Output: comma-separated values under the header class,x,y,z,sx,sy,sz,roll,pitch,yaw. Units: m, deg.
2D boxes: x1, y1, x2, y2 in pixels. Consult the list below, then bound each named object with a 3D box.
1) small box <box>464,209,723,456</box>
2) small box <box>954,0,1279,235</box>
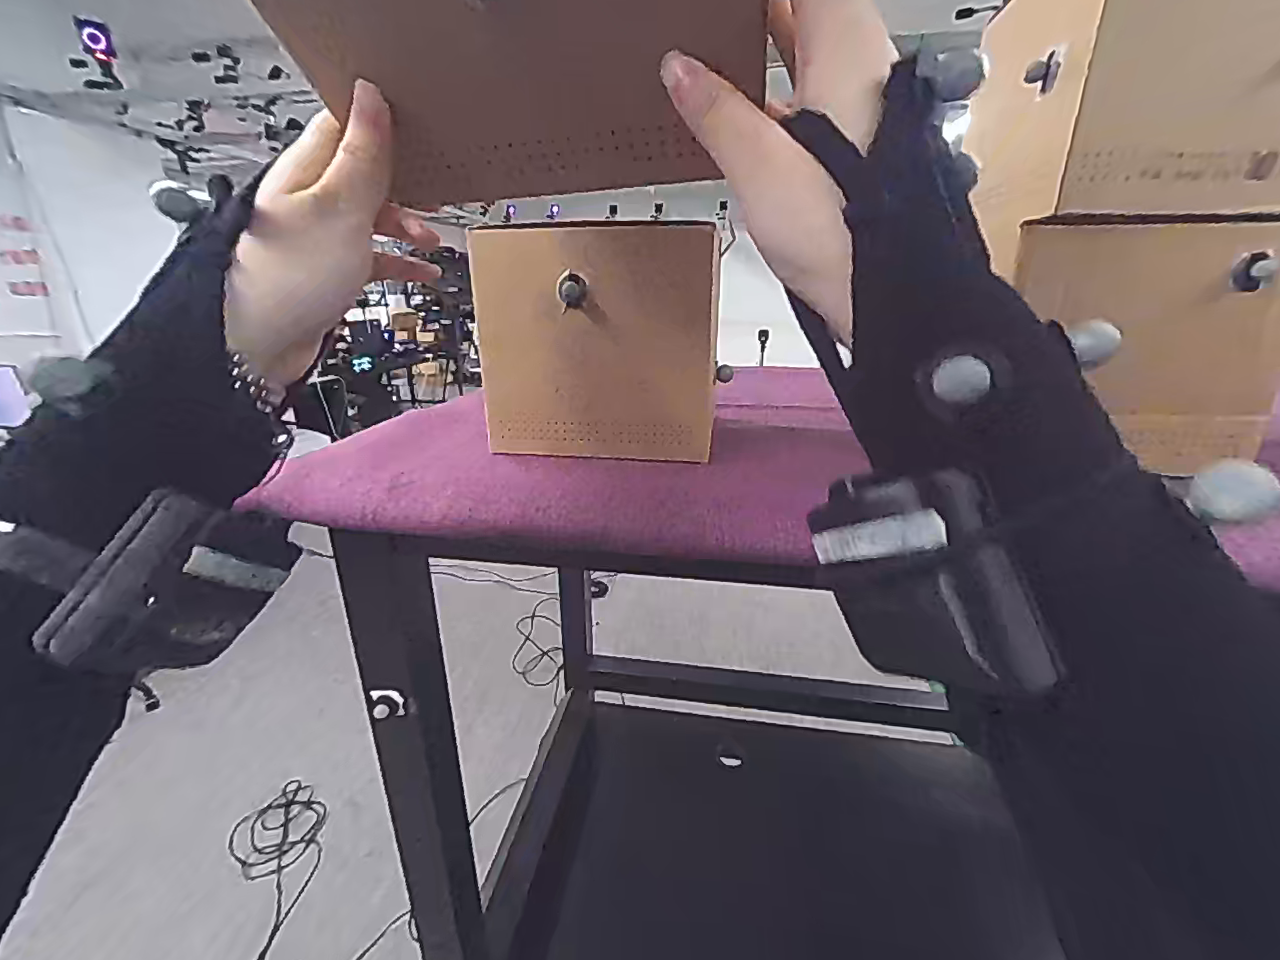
class,x,y,z,sx,sy,sz,roll,pitch,yaw
small box,-0.023,-0.123,0.456,0.179,0.176,0.168,3,21,9
small box,0.344,-0.262,0.366,0.168,0.176,0.179,4,18,6
